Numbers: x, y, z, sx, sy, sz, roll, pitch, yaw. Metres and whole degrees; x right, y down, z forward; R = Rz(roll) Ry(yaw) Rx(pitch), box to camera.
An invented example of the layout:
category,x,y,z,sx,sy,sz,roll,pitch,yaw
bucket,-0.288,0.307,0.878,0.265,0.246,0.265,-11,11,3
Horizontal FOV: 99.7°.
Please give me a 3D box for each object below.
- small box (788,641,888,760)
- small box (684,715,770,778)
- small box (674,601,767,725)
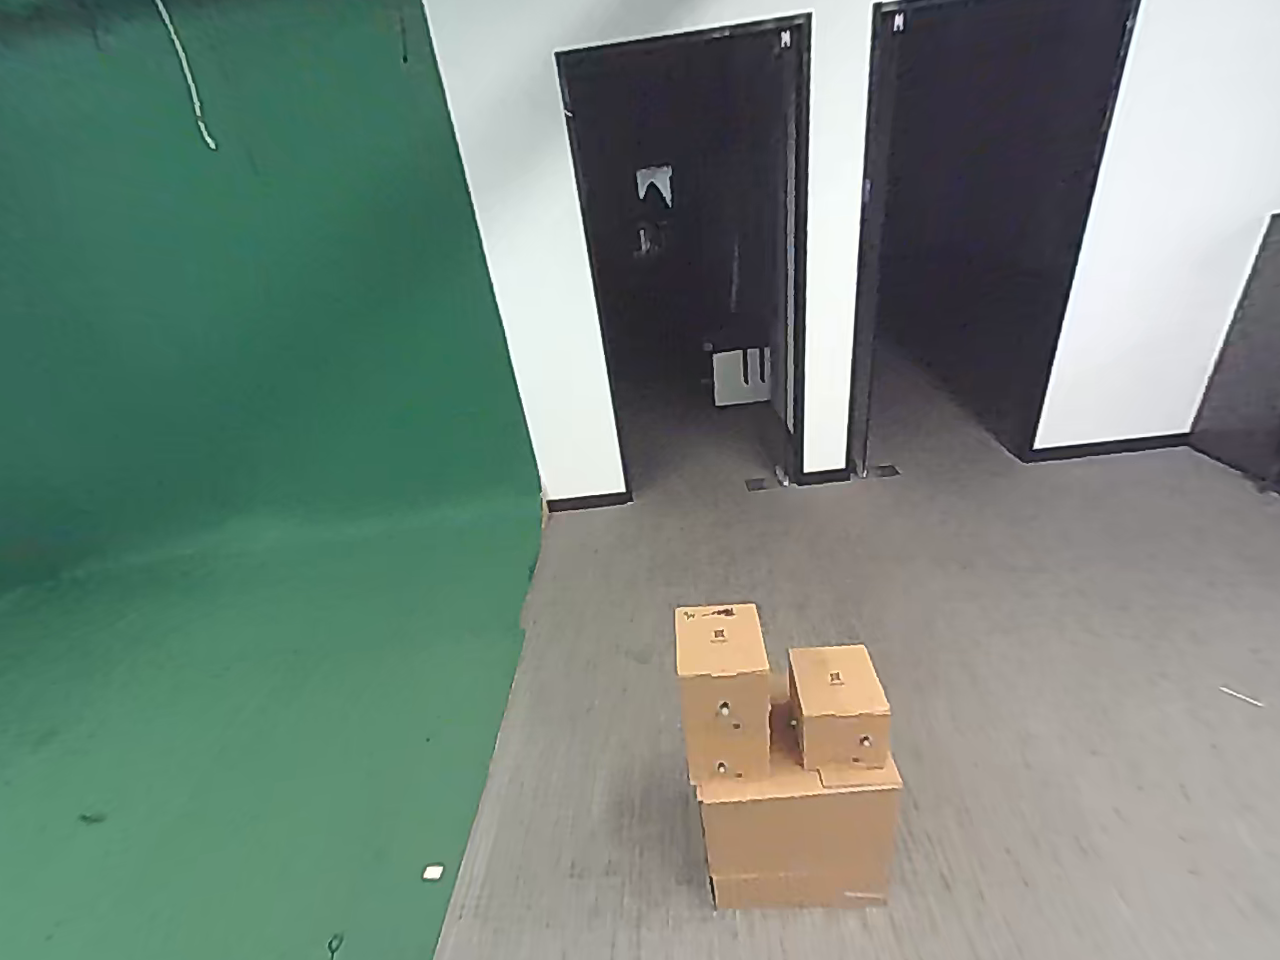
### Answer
category,x,y,z,sx,sy,sz,roll,pitch,yaw
small box,0.412,0.469,1.143,0.168,0.176,0.179,-5,28,8
small box,0.177,0.502,1.152,0.168,0.176,0.179,-5,31,4
small box,0.157,0.364,1.066,0.168,0.176,0.179,-4,31,5
